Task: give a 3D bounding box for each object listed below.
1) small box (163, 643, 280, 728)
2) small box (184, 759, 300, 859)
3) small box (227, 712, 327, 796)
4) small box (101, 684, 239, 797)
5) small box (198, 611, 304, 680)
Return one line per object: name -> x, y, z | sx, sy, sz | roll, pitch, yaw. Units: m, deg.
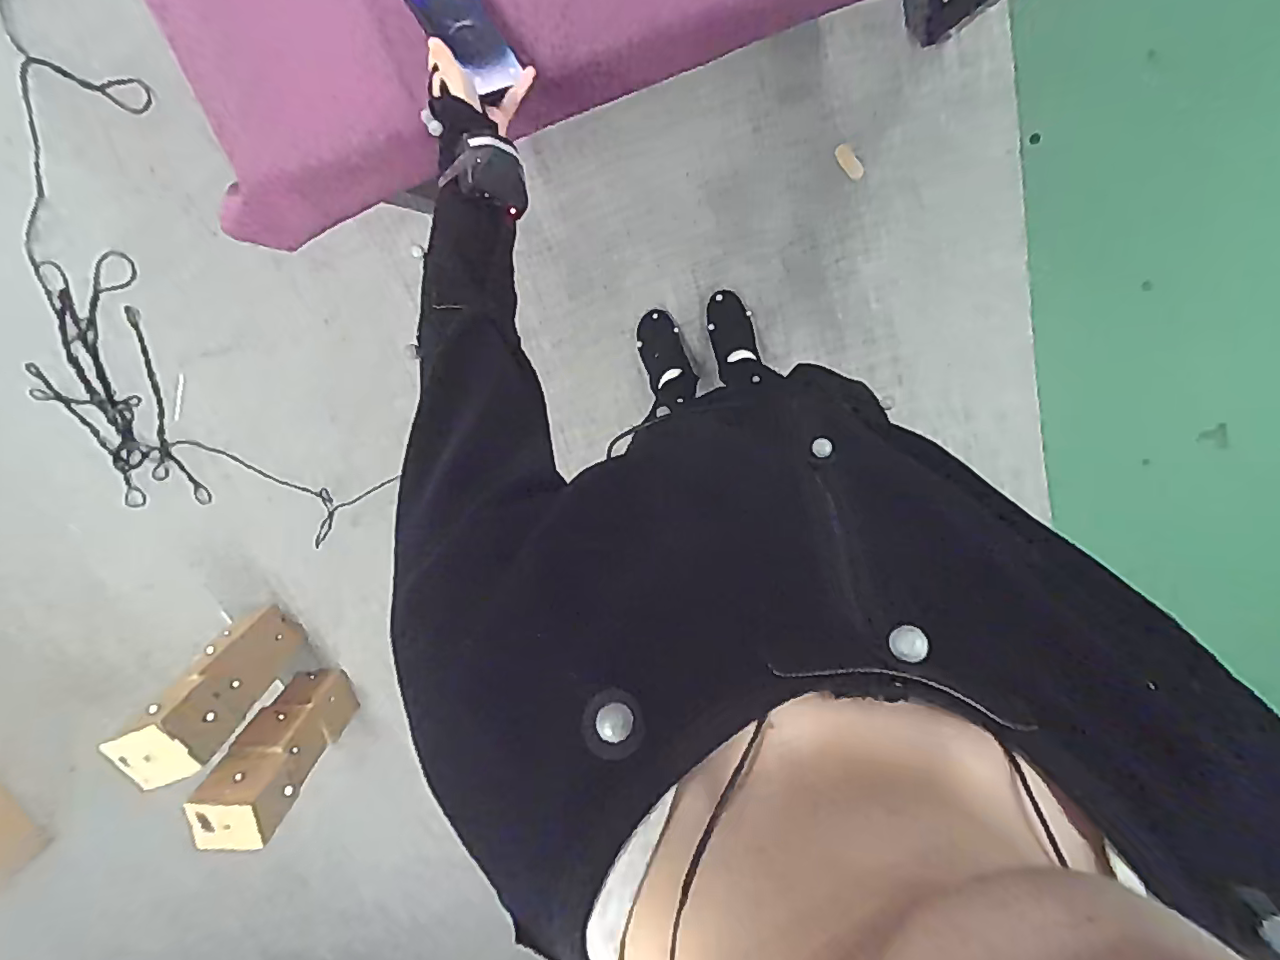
small box -> -1.170, 0.596, 1.519 | 0.168, 0.176, 0.179 | -30, 109, 10
small box -> -1.060, 0.878, 1.454 | 0.179, 0.176, 0.168 | 2, 110, -1
small box -> -1.067, 0.820, 1.608 | 0.168, 0.176, 0.179 | -2, 110, 2
small box -> -1.166, 0.650, 1.366 | 0.179, 0.176, 0.168 | -23, 110, 7
small box -> -1.185, 0.536, 1.670 | 0.179, 0.176, 0.168 | -25, 109, 10
